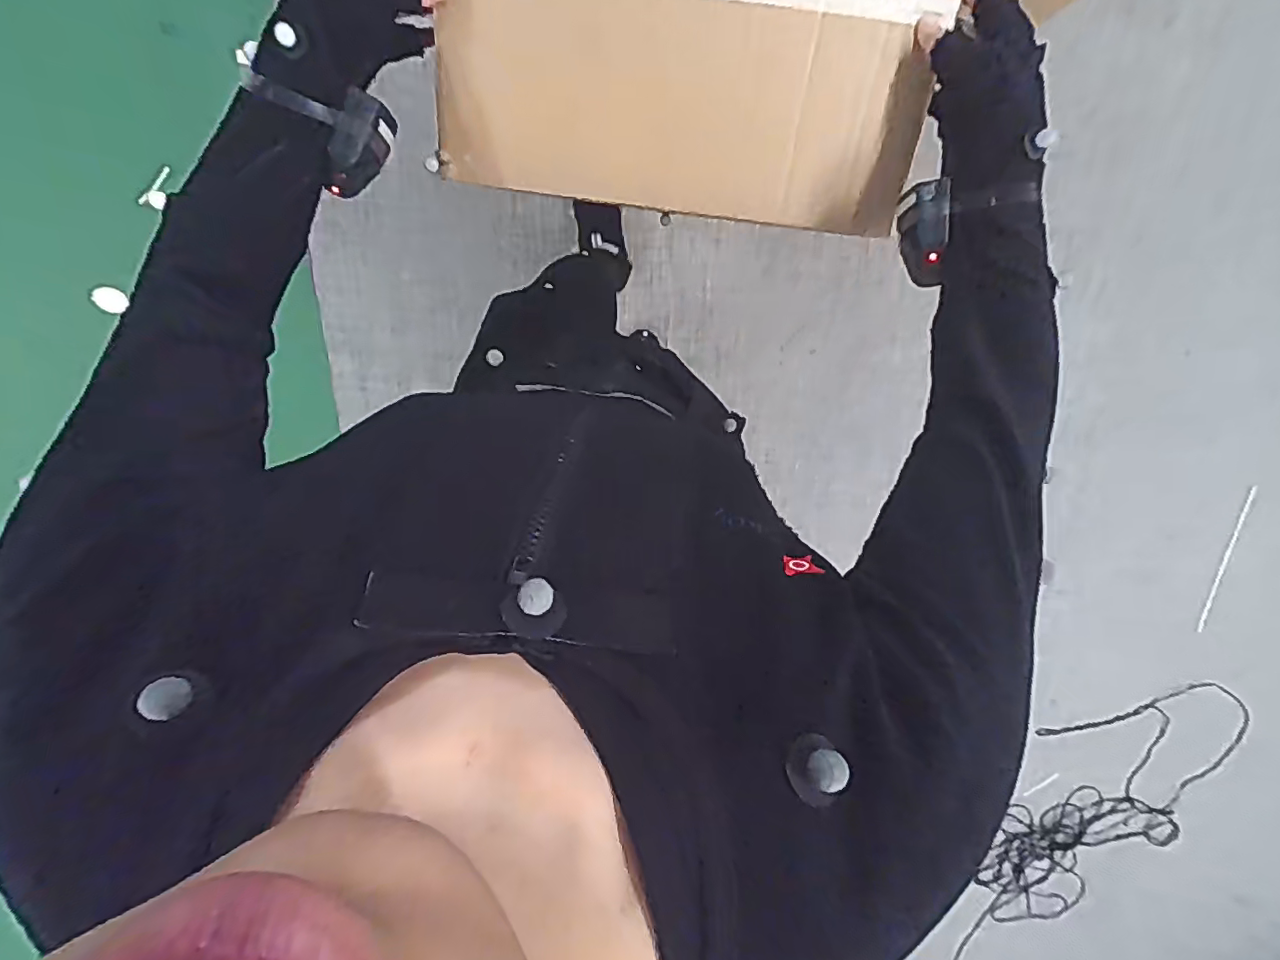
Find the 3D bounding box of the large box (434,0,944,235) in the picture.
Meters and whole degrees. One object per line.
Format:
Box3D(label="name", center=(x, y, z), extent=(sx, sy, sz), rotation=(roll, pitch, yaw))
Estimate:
Box3D(label="large box", center=(0.045, -0.446, 0.552), extent=(0.408, 0.320, 0.320), rotation=(7, 116, 0))
